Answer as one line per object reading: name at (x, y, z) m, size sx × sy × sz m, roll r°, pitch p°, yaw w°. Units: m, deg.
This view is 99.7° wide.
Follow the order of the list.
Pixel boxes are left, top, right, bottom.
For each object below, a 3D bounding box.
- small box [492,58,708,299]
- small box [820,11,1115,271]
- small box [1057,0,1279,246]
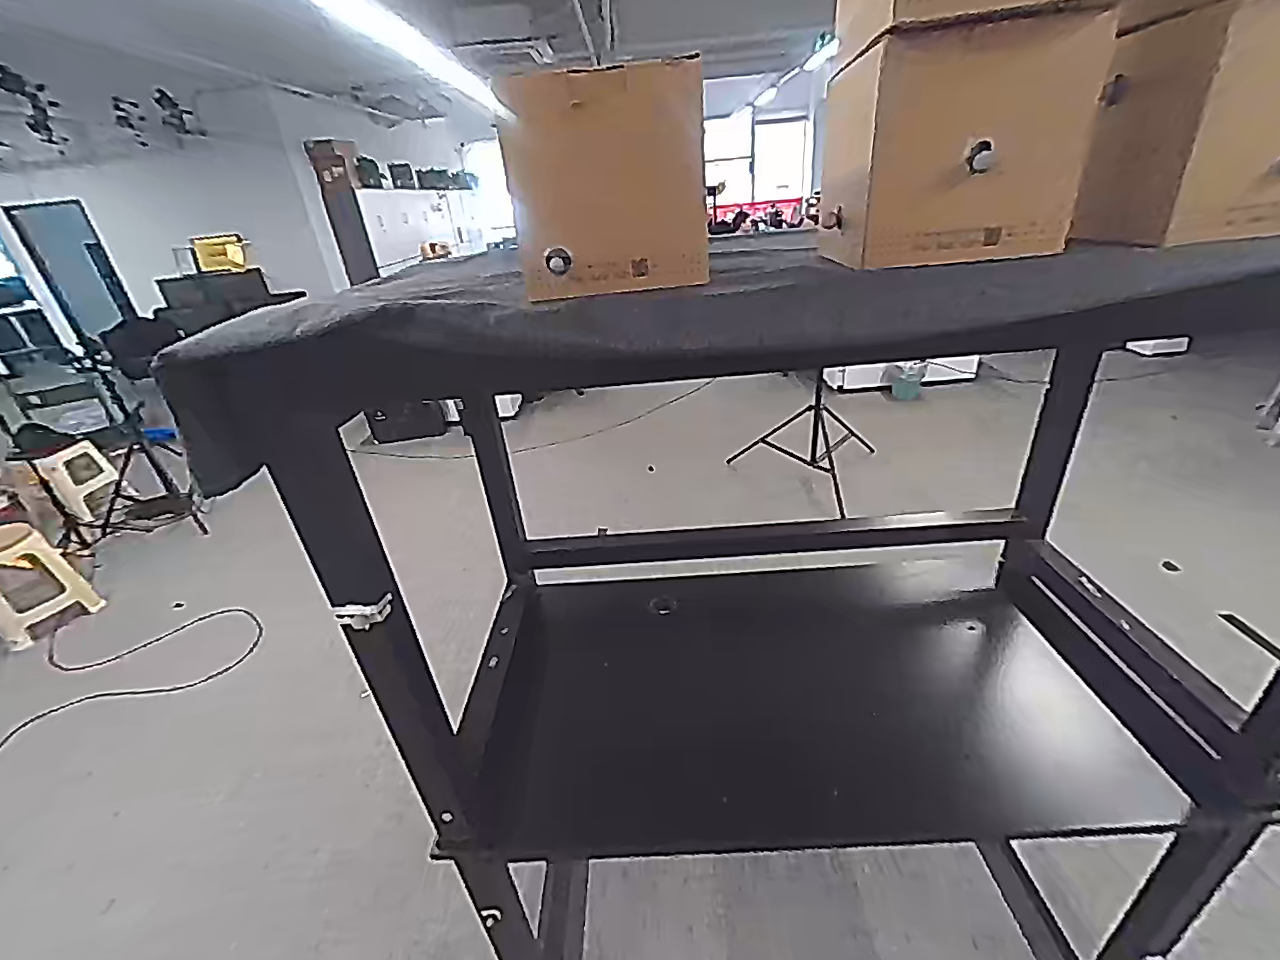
small box at (-0.030, -0.274, 0.522) m, size 0.168 × 0.176 × 0.179 m, roll -6°, pitch 26°, yaw -1°
small box at (0.272, -0.293, 0.501) m, size 0.168 × 0.176 × 0.179 m, roll -2°, pitch 27°, yaw 5°
small box at (0.507, -0.309, 0.483) m, size 0.168 × 0.176 × 0.179 m, roll -5°, pitch 27°, yaw 4°
